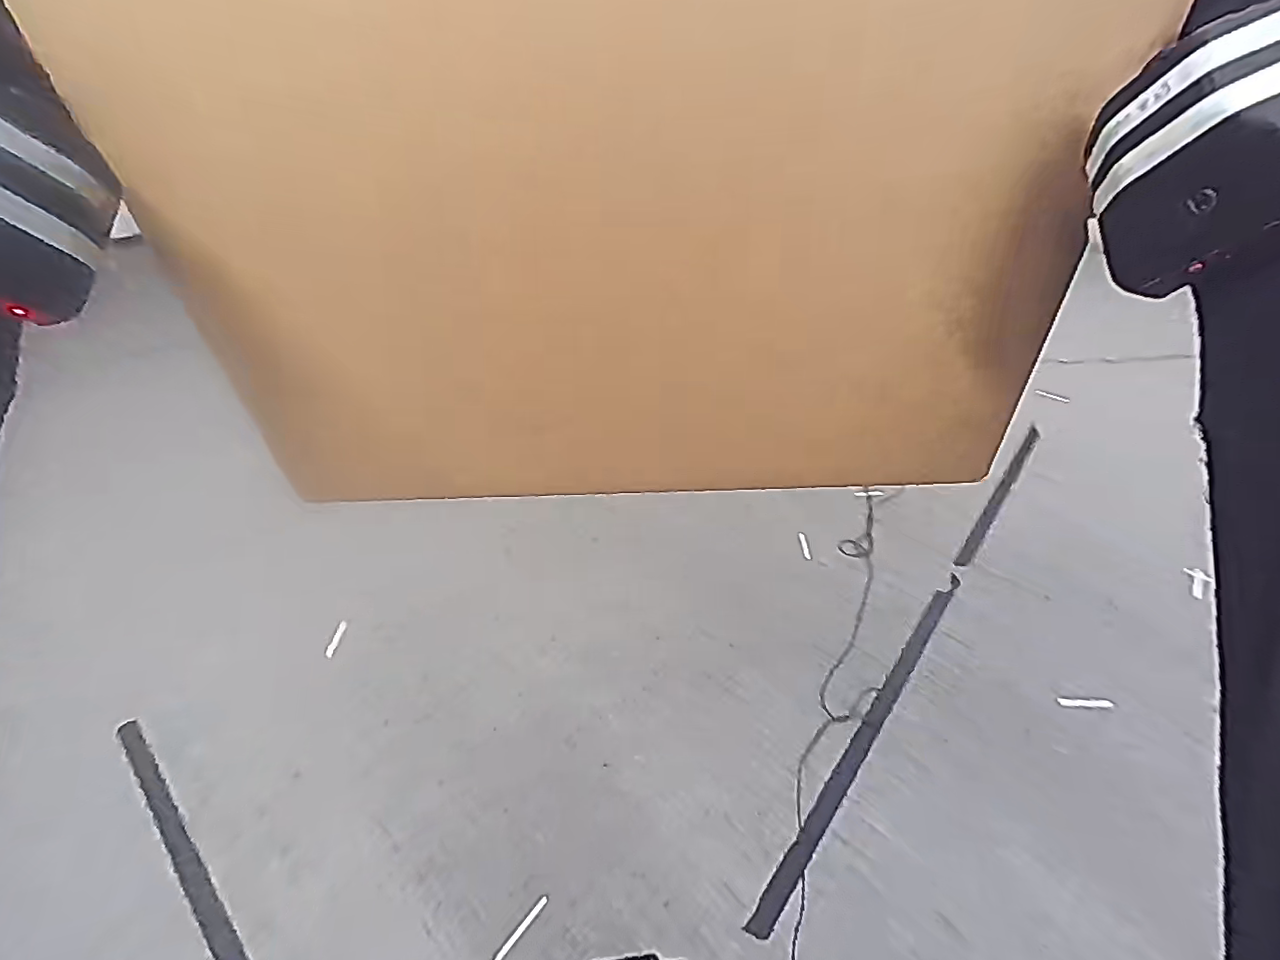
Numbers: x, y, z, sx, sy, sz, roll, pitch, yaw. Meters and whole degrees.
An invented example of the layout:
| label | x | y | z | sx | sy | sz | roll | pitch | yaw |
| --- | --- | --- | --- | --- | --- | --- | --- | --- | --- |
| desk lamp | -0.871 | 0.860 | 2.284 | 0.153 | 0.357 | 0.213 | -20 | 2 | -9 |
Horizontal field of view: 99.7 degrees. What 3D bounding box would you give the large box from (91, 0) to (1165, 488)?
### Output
| label | x | y | z | sx | sy | sz | roll | pitch | yaw |
| --- | --- | --- | --- | --- | --- | --- | --- | --- | --- |
| large box | -0.003 | -0.207 | 0.356 | 0.408 | 0.320 | 0.320 | -1 | 38 | 2 |
